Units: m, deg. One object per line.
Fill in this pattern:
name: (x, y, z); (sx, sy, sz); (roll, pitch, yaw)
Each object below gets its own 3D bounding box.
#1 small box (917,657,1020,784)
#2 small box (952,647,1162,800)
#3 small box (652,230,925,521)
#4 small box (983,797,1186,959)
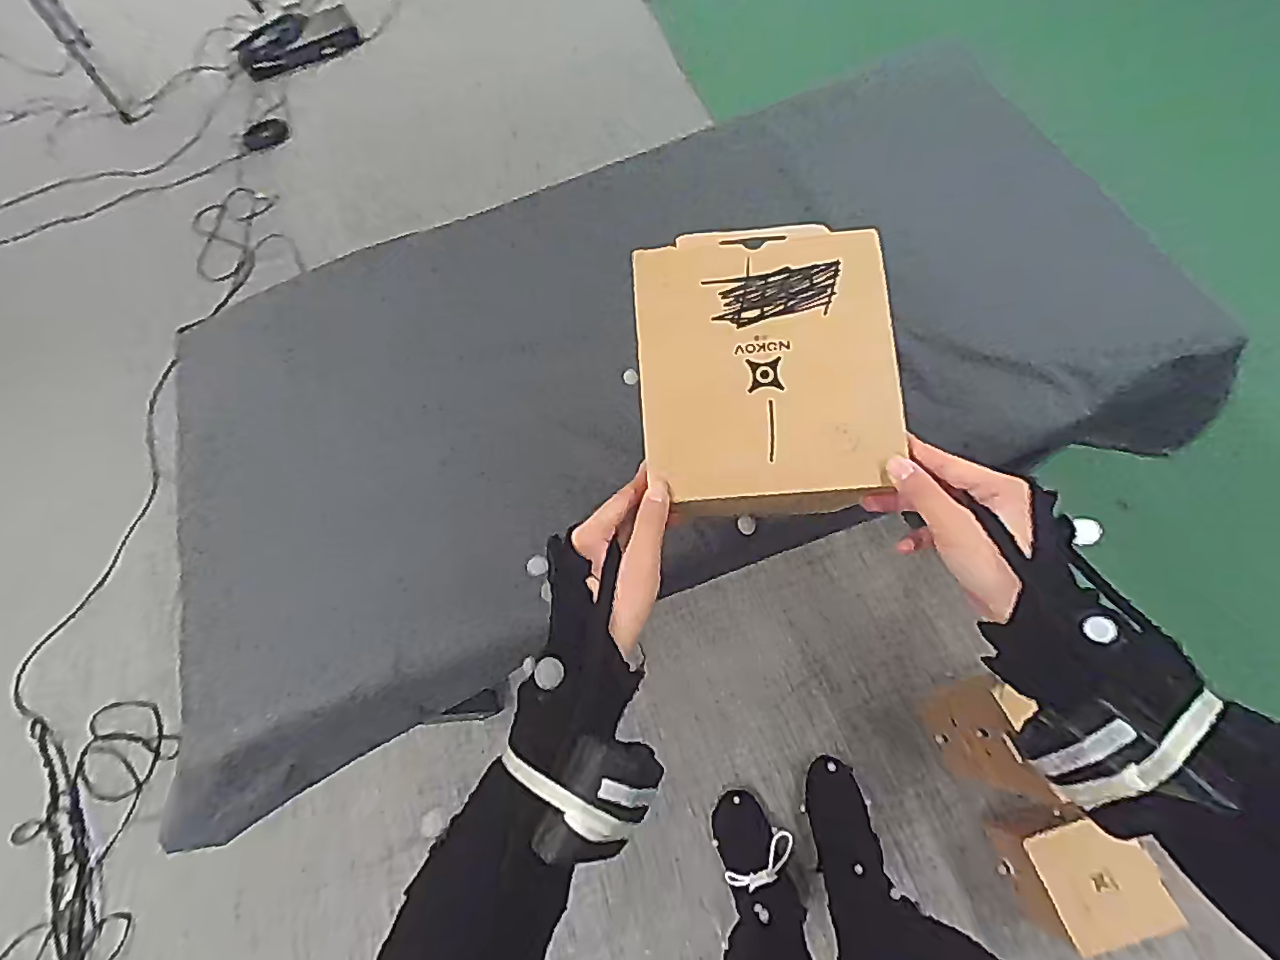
small box: (0.662, 0.459, 1.035); (0.179, 0.176, 0.168); (-22, 65, -2)
small box: (0.660, 0.390, 0.884); (0.179, 0.176, 0.168); (-24, 66, -3)
small box: (0.096, -0.065, 0.429); (0.168, 0.176, 0.179); (-4, 81, 4)
small box: (0.748, 0.669, 0.936); (0.179, 0.176, 0.168); (-20, 65, 1)
